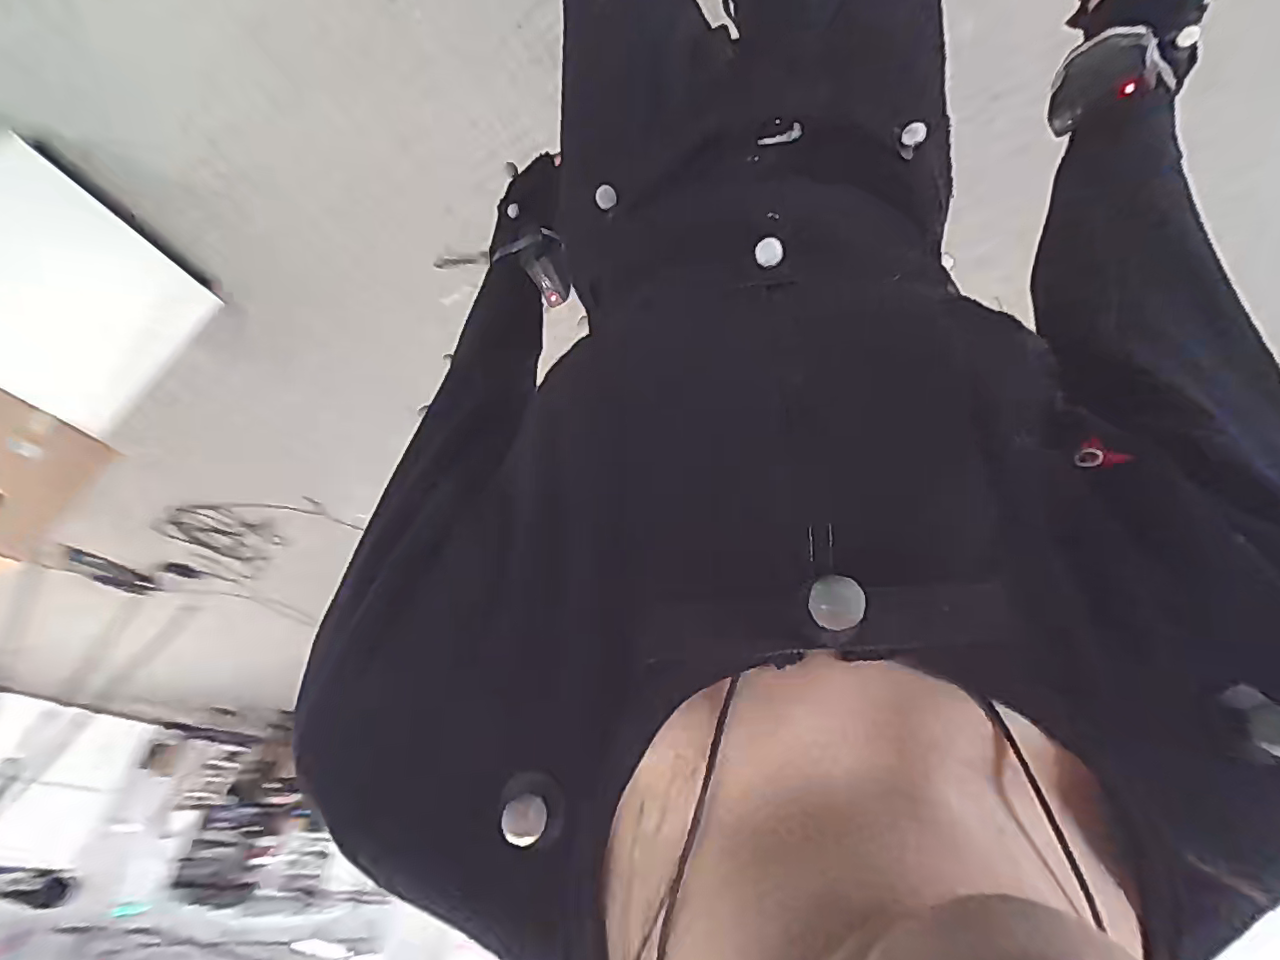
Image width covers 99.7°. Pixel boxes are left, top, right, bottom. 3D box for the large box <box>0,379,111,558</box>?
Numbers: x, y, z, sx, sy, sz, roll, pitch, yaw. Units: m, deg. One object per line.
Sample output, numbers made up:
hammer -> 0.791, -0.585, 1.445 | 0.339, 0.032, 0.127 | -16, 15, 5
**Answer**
large box -> -1.527, -0.020, 1.202 | 0.408, 0.320, 0.320 | -13, 139, 25
